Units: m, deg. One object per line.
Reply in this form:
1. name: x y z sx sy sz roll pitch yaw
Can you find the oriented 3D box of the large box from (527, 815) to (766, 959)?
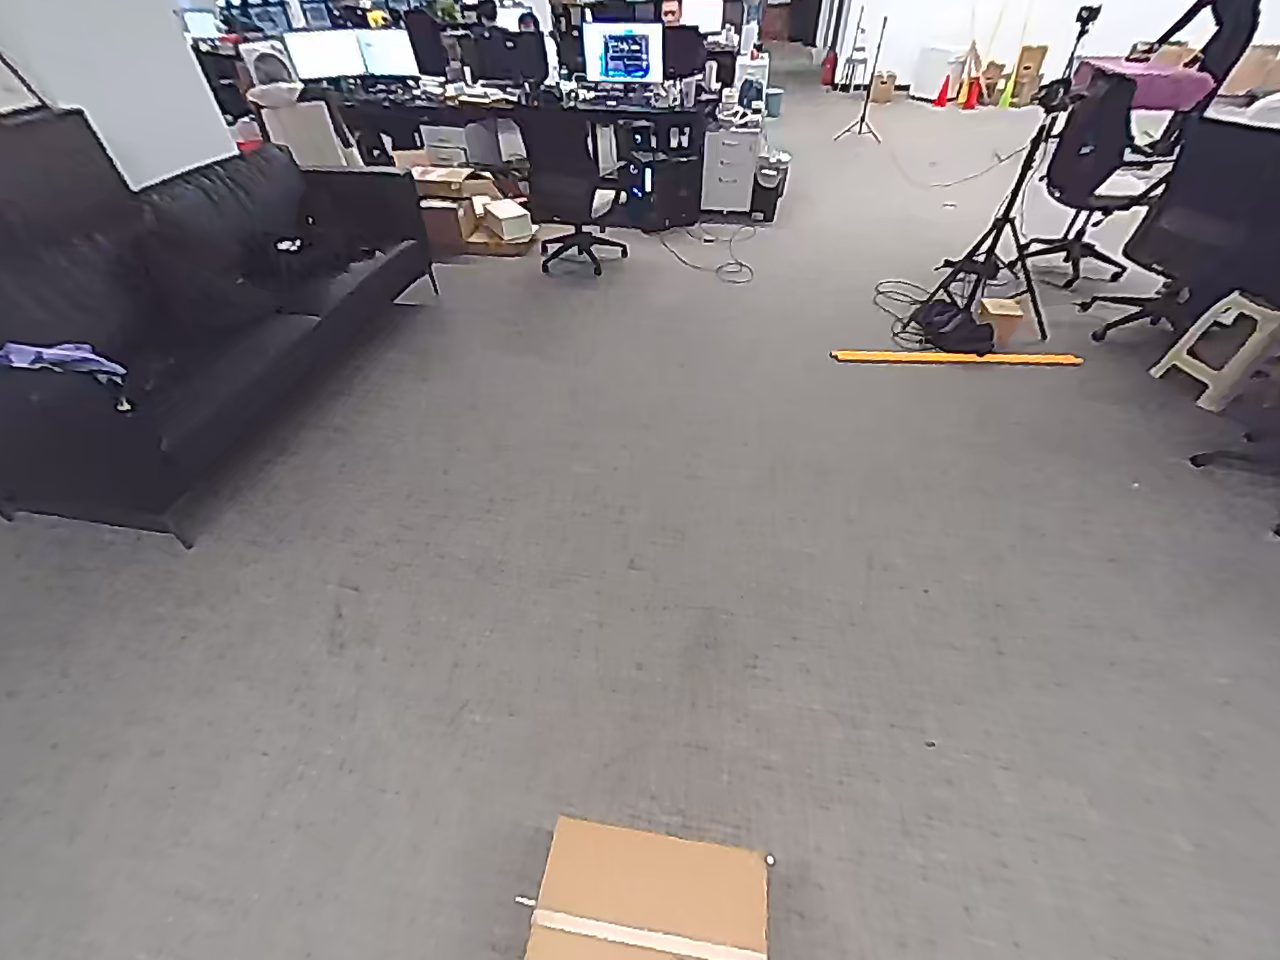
1. large box: 0.016 0.885 1.028 0.408 0.320 0.320 6 44 8
